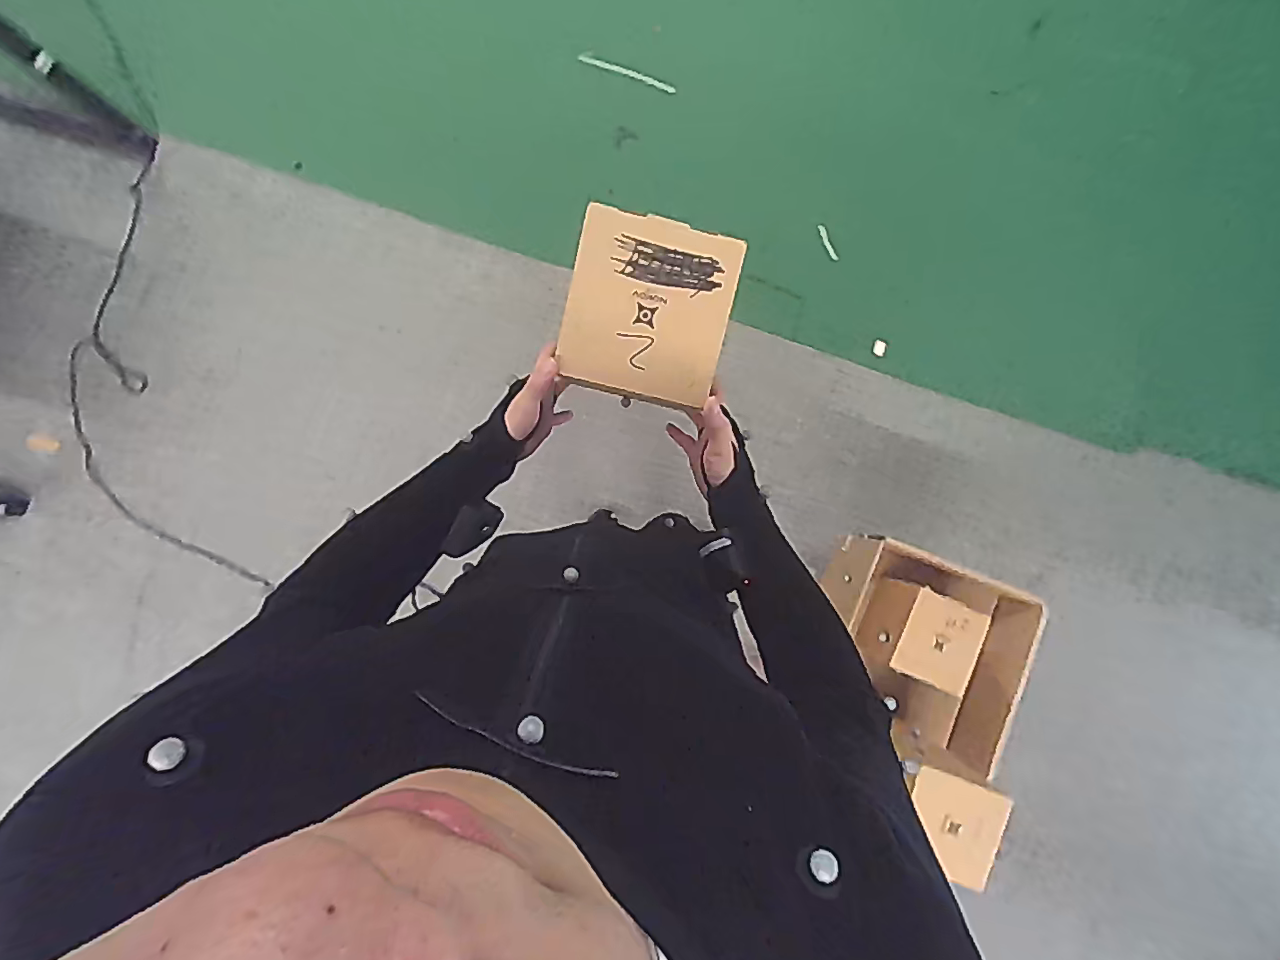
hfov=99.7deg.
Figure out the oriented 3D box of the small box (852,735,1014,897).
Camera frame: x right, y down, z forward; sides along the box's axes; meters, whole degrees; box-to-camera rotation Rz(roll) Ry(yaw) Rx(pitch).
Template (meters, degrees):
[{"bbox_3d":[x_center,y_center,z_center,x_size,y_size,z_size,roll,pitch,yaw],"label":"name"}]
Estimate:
[{"bbox_3d":[0.521,0.597,0.989,0.179,0.176,0.168,23,87,-2],"label":"small box"}]
